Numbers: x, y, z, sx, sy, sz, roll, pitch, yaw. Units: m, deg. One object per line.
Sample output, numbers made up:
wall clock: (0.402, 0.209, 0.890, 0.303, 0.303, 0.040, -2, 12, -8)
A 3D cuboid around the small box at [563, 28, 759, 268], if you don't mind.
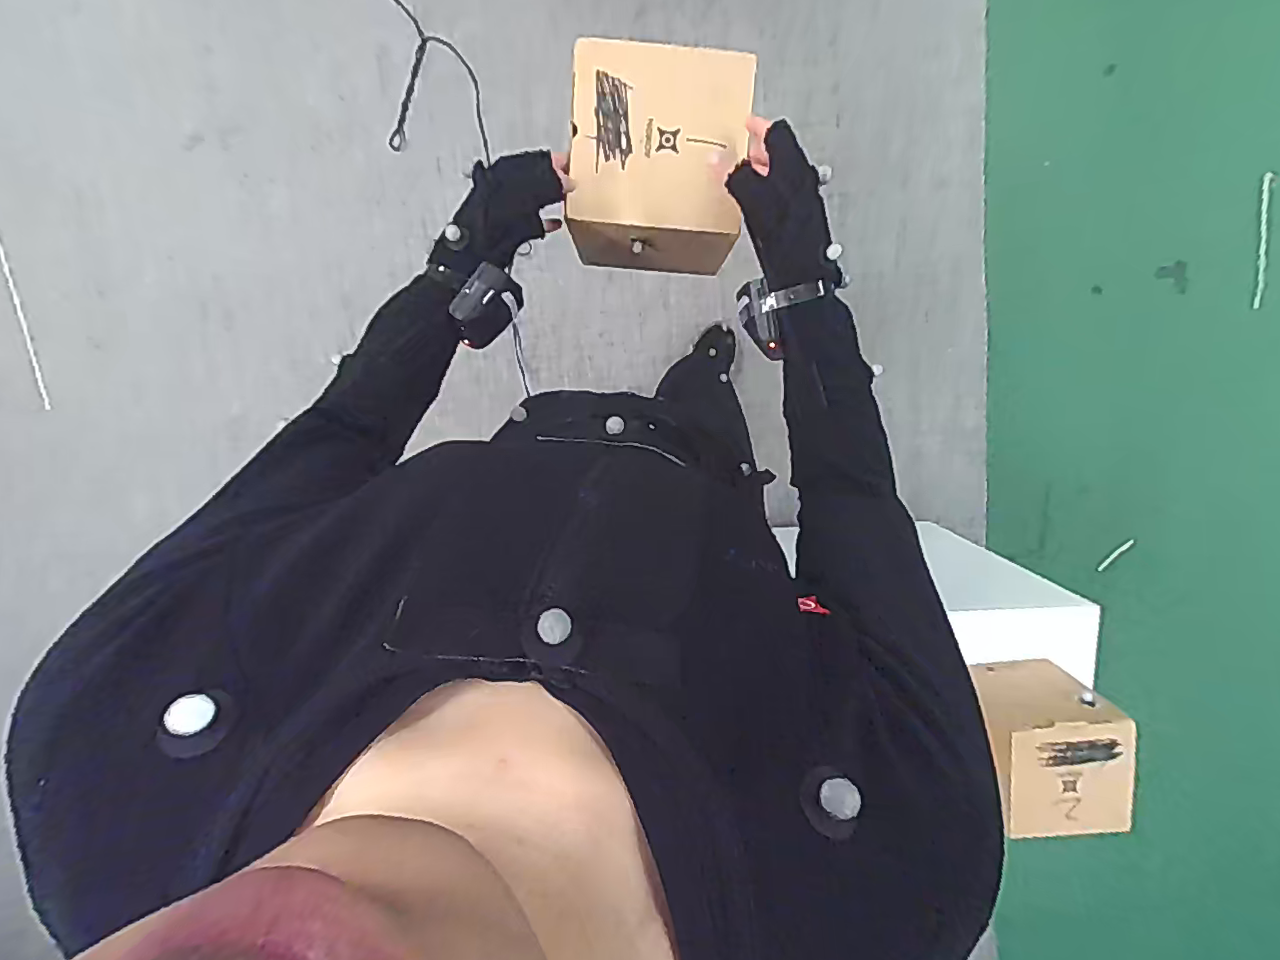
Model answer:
small box: (0.018, -0.345, 0.596, 0.179, 0.176, 0.168, 5, 97, -2)
